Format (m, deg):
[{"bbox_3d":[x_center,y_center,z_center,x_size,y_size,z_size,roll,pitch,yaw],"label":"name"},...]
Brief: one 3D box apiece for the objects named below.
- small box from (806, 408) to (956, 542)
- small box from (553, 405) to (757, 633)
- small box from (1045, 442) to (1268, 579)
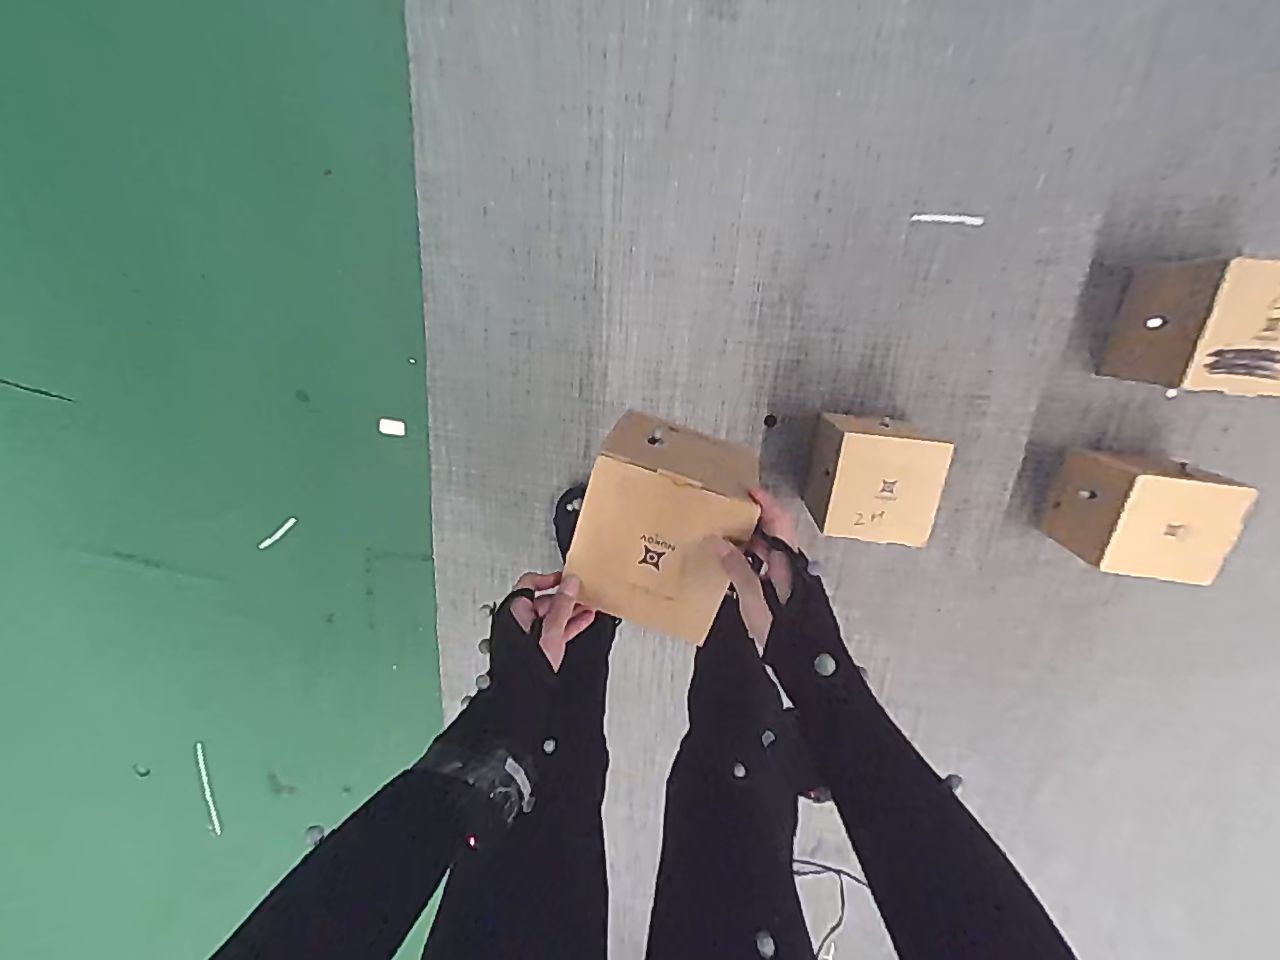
[{"bbox_3d":[0.385,-0.018,0.900,0.168,0.176,0.179,7,108,4],"label":"small box"},{"bbox_3d":[0.020,0.031,0.610,0.168,0.176,0.179,19,113,2],"label":"small box"},{"bbox_3d":[0.815,0.040,0.880,0.179,0.176,0.168,7,108,2],"label":"small box"}]
